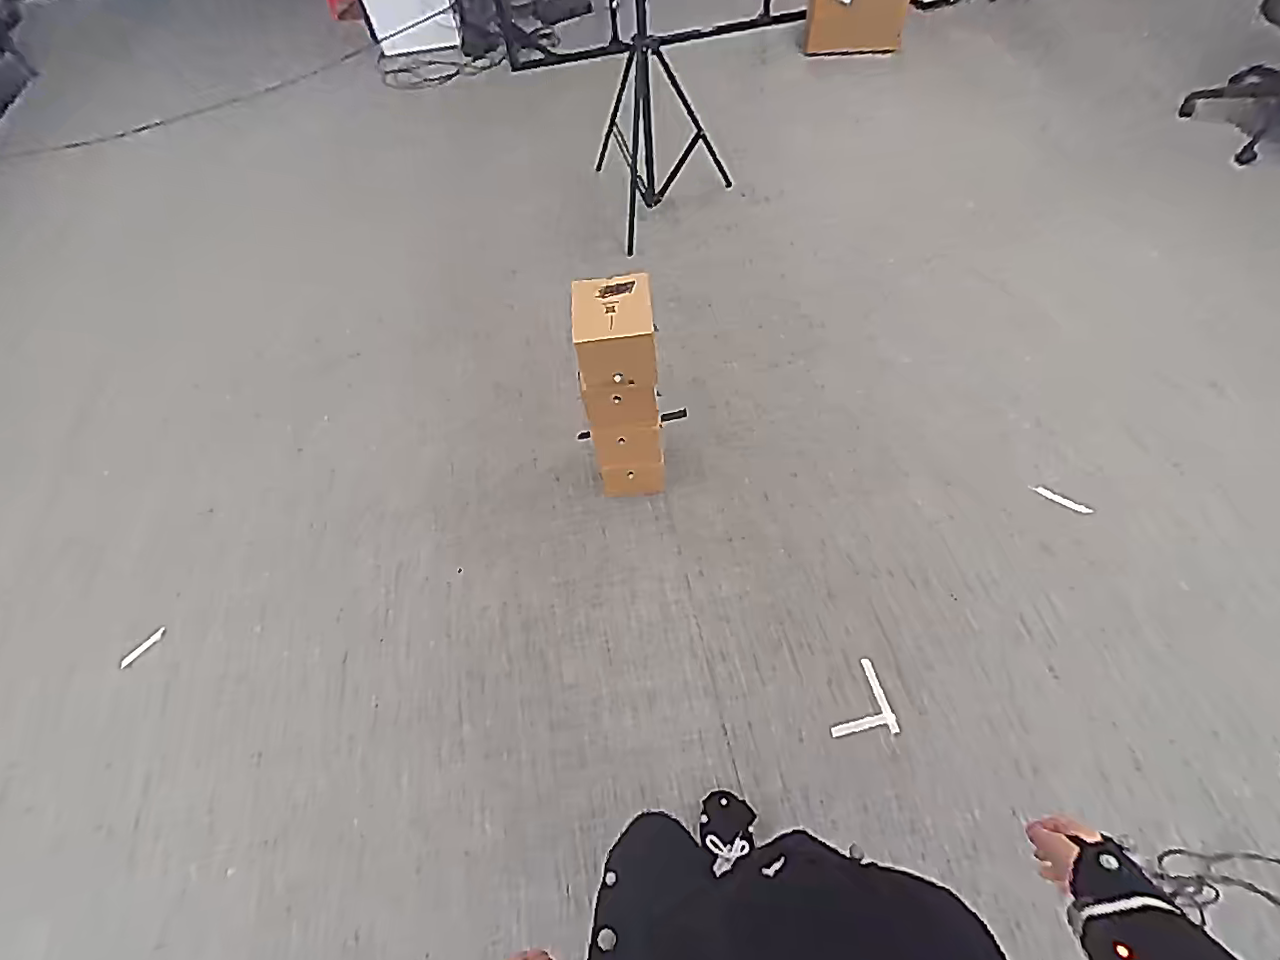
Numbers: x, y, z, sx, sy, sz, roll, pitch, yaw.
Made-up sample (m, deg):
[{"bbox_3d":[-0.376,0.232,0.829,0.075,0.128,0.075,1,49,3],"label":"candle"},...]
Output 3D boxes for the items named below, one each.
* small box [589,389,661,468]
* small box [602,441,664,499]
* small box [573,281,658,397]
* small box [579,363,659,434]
[{"bbox_3d":[-0.035,-0.142,1.470,0.179,0.176,0.168,-3,61,4],"label":"small box"},{"bbox_3d":[-0.020,-0.055,1.609,0.179,0.176,0.168,-6,61,2],"label":"small box"},{"bbox_3d":[-0.050,-0.306,1.187,0.168,0.176,0.179,-6,62,3],"label":"small box"},{"bbox_3d":[-0.050,-0.227,1.333,0.179,0.176,0.168,-5,62,2],"label":"small box"}]
